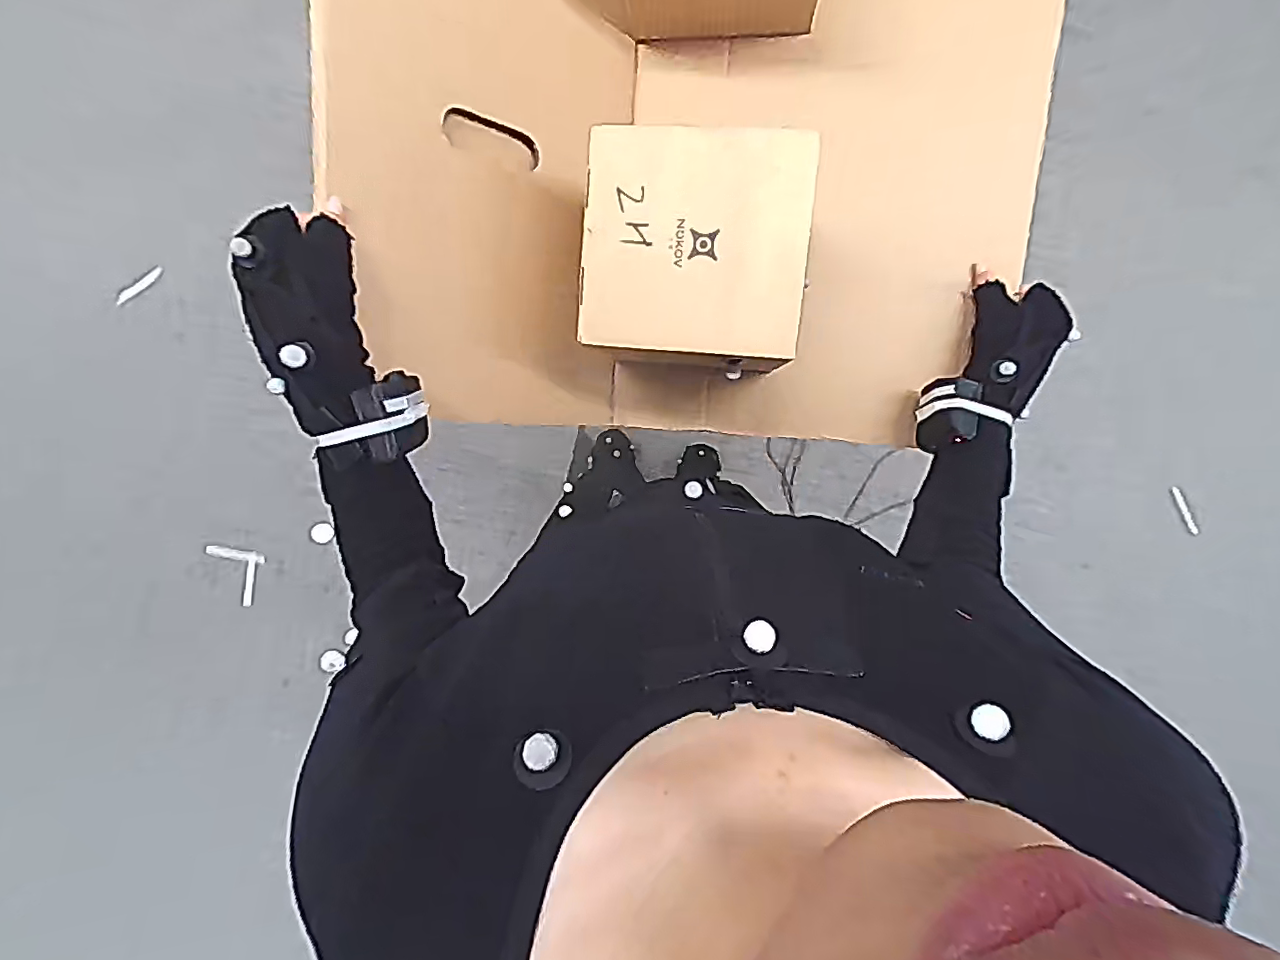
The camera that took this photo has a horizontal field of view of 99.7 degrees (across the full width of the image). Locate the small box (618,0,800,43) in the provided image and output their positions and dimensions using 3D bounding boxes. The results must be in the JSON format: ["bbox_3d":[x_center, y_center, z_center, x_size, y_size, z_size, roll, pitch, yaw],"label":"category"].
[{"bbox_3d":[0.062,-0.514,0.459,0.179,0.176,0.168,3,98,7],"label":"small box"}]
